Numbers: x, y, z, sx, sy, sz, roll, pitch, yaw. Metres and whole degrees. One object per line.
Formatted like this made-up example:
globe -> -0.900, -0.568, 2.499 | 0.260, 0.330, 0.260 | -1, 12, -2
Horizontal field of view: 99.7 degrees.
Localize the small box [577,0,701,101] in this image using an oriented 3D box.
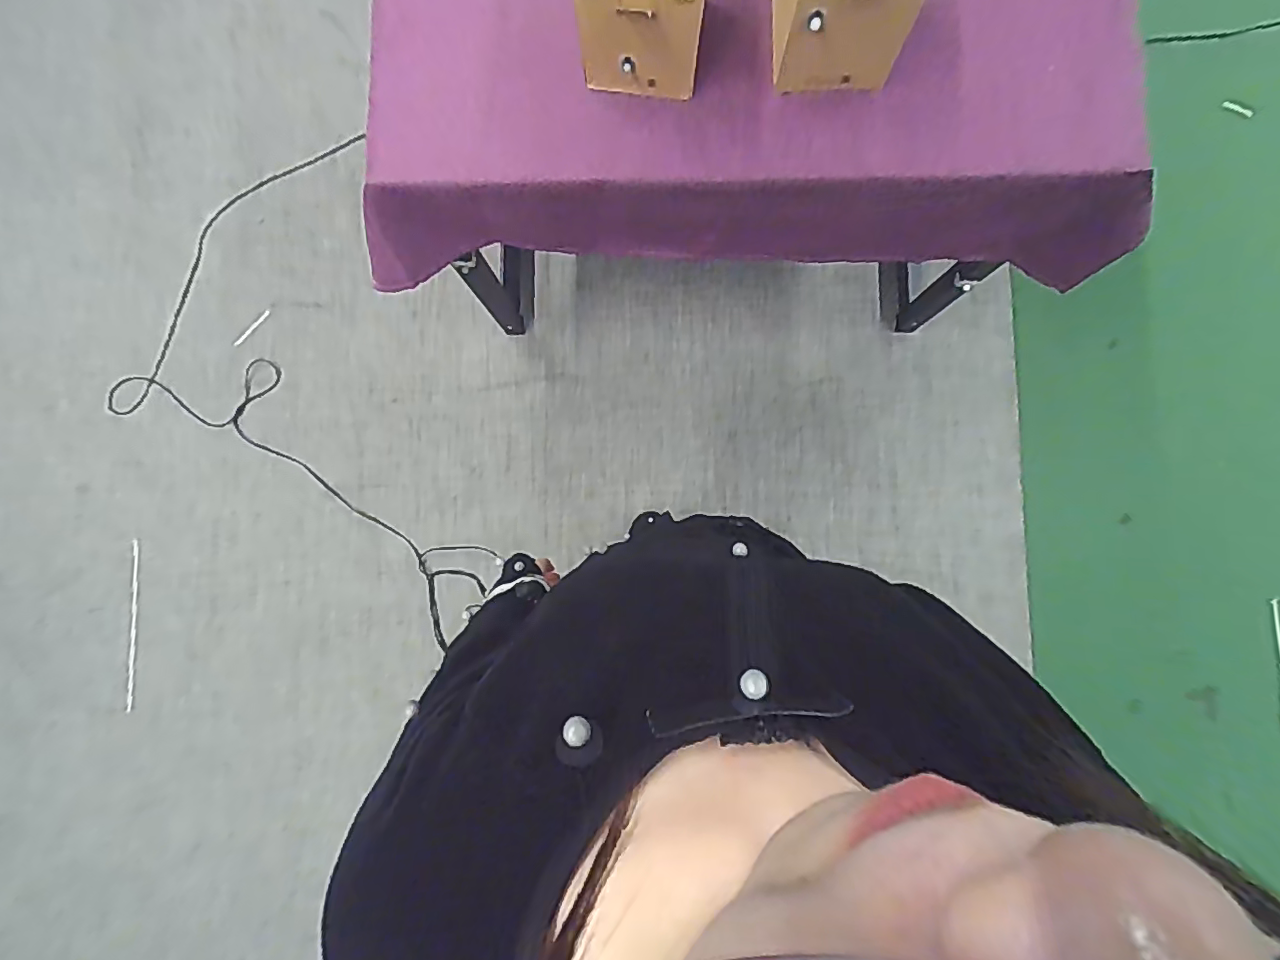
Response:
small box -> 0.004, -0.704, 0.788 | 0.168, 0.176, 0.179 | 8, 86, 2
